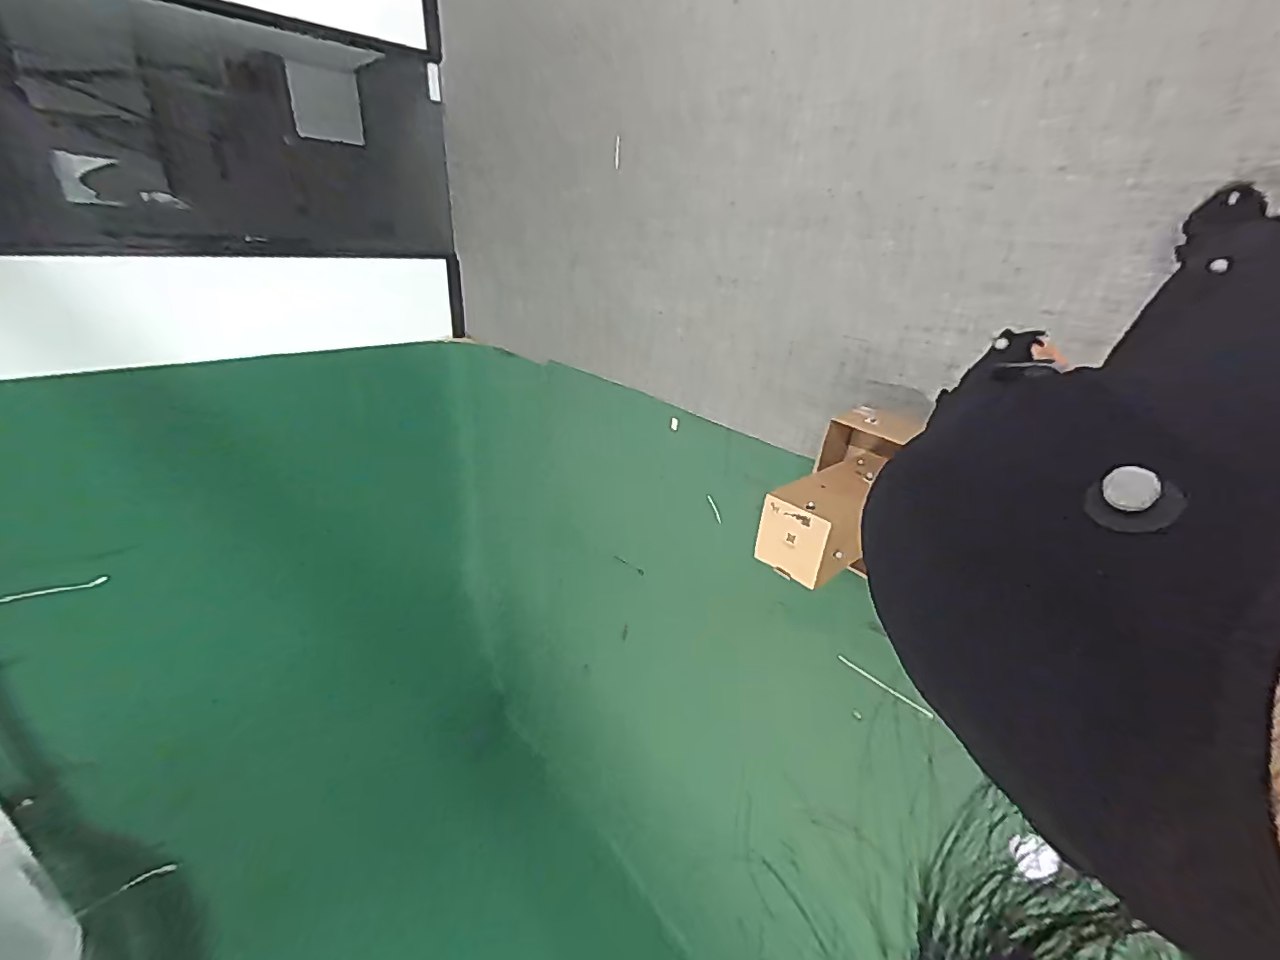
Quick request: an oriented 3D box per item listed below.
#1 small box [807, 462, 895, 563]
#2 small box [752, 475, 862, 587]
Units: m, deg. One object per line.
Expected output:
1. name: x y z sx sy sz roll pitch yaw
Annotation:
1. small box: 0.509 0.074 1.354 0.168 0.176 0.179 31 124 38
2. small box: 0.386 0.110 1.249 0.168 0.176 0.179 28 124 40
